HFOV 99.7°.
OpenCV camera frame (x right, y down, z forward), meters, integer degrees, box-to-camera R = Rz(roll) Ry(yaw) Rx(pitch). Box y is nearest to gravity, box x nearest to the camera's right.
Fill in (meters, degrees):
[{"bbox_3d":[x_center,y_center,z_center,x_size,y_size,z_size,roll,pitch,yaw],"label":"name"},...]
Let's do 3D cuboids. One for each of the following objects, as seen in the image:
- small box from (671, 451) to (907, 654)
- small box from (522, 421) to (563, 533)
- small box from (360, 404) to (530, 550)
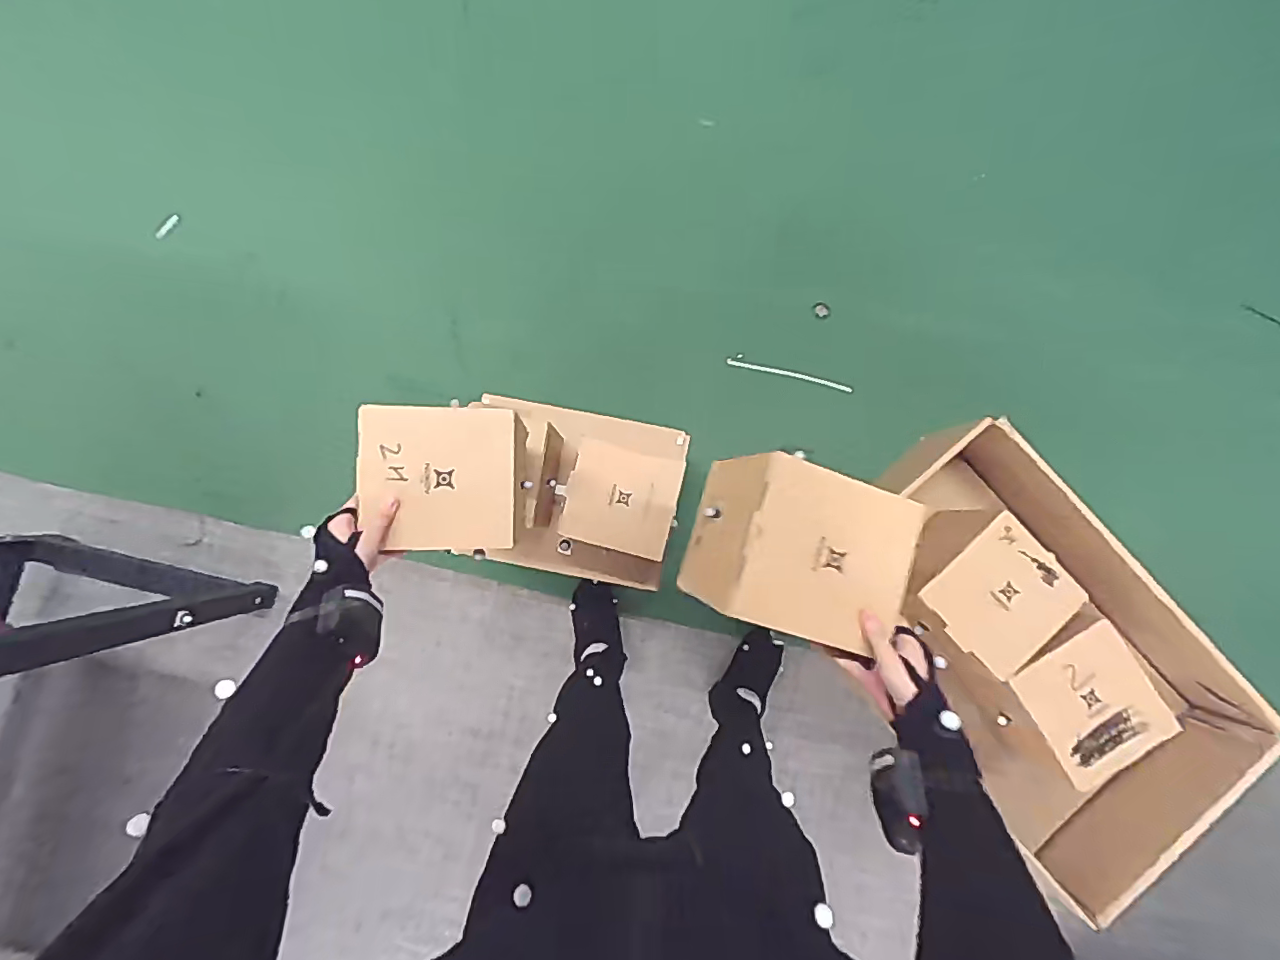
[{"bbox_3d":[0.155,0.076,0.611,0.179,0.176,0.168,18,84,-10],"label":"small box"},{"bbox_3d":[-0.235,-0.007,0.939,0.168,0.176,0.179,9,86,1],"label":"small box"},{"bbox_3d":[-0.238,0.000,0.704,0.179,0.176,0.168,2,87,-6],"label":"small box"}]
